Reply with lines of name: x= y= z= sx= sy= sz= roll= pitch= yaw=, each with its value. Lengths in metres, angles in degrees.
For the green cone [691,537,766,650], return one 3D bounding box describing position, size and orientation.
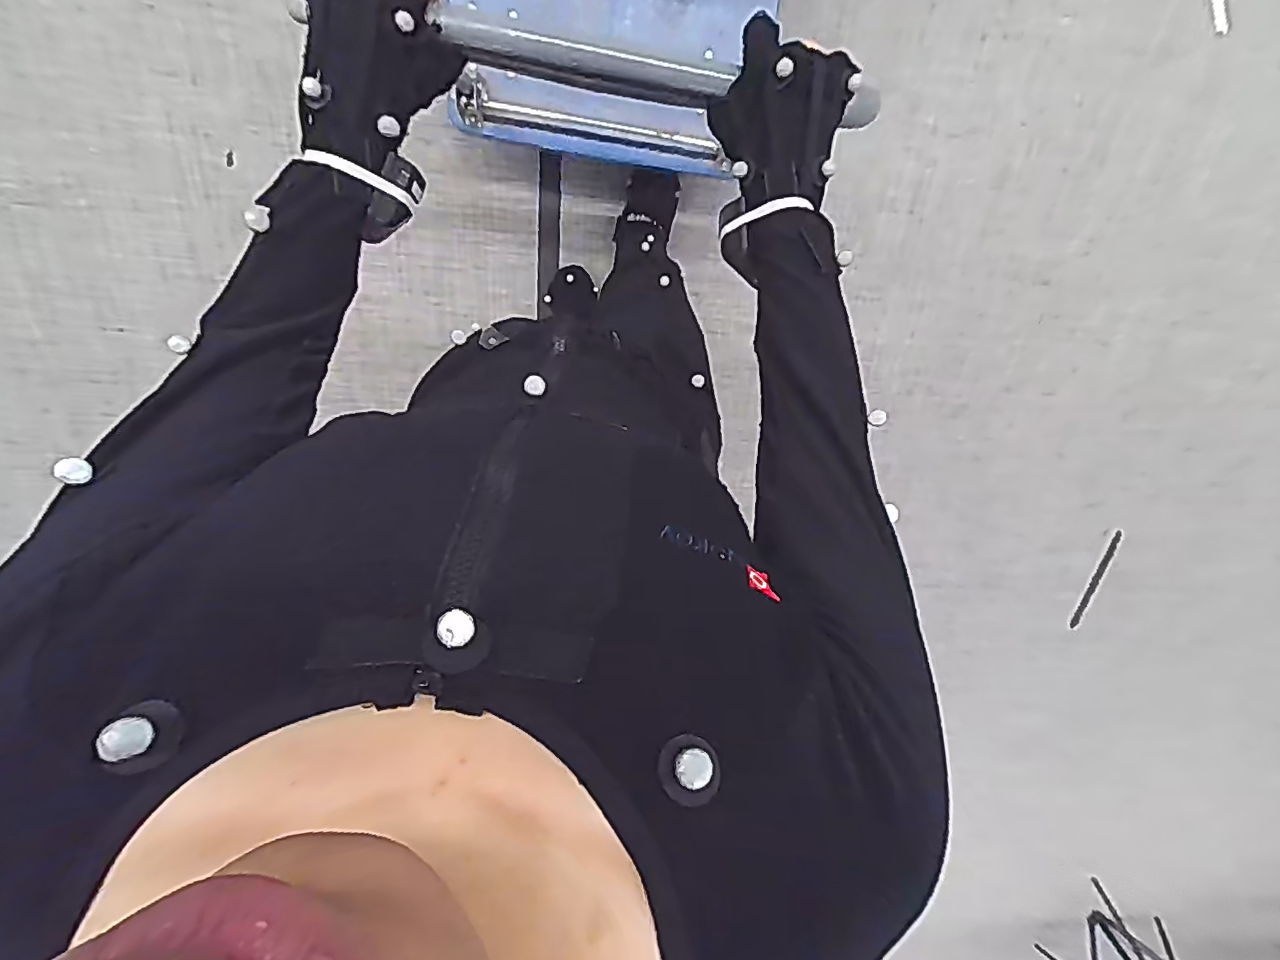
green cone: x=0.284 y=0.344 z=1.542 sx=0.202 sy=0.368 sz=0.200 roll=6 pitch=115 yaw=-8
